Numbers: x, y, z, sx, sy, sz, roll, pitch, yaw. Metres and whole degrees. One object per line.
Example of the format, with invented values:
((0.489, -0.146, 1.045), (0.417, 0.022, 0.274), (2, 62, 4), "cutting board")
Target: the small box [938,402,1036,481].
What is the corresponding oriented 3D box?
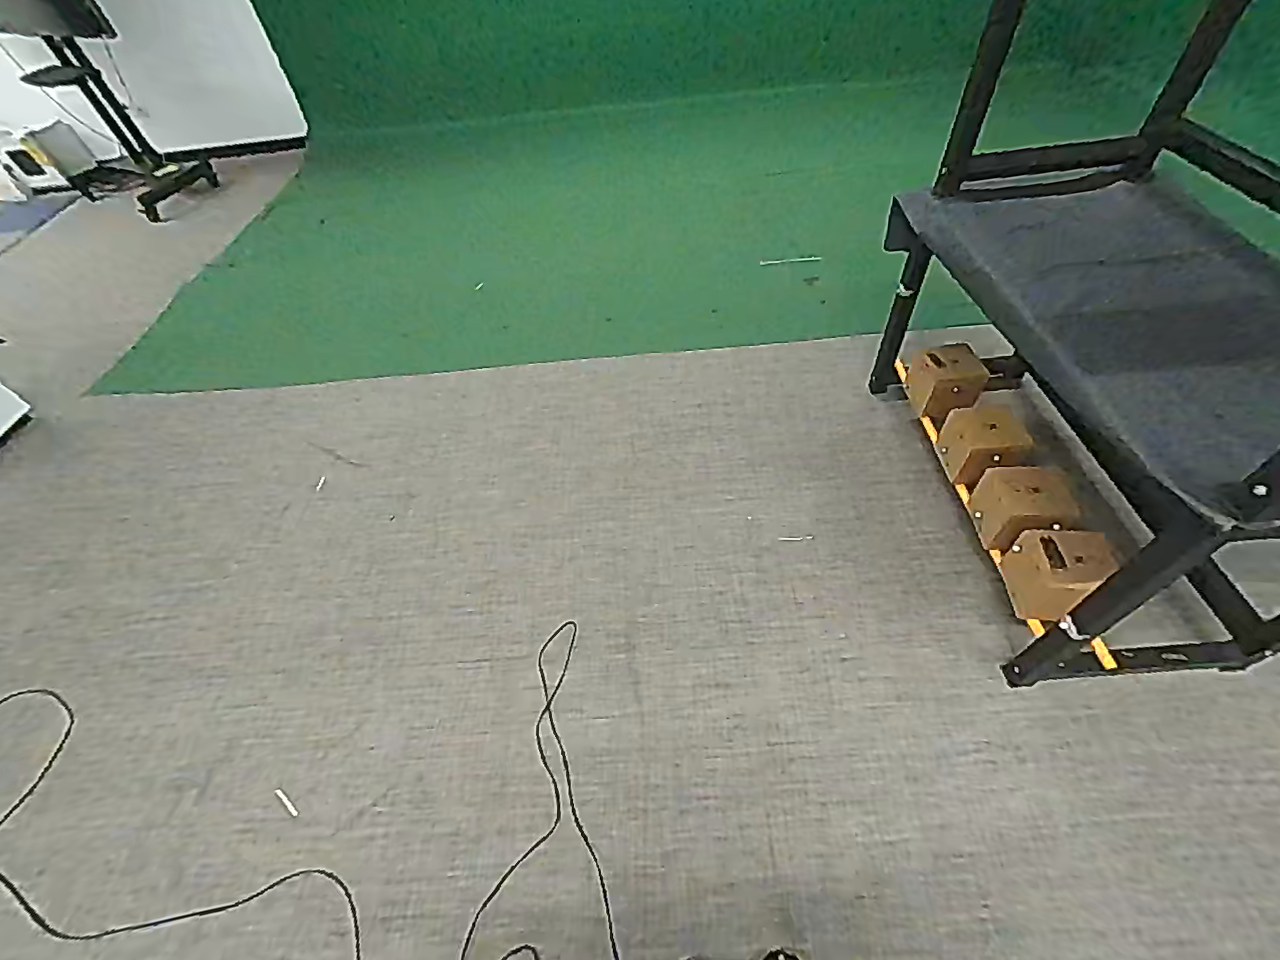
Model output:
((1.043, -0.114, 1.640), (0.179, 0.176, 0.168), (-5, 51, 6), "small box")
